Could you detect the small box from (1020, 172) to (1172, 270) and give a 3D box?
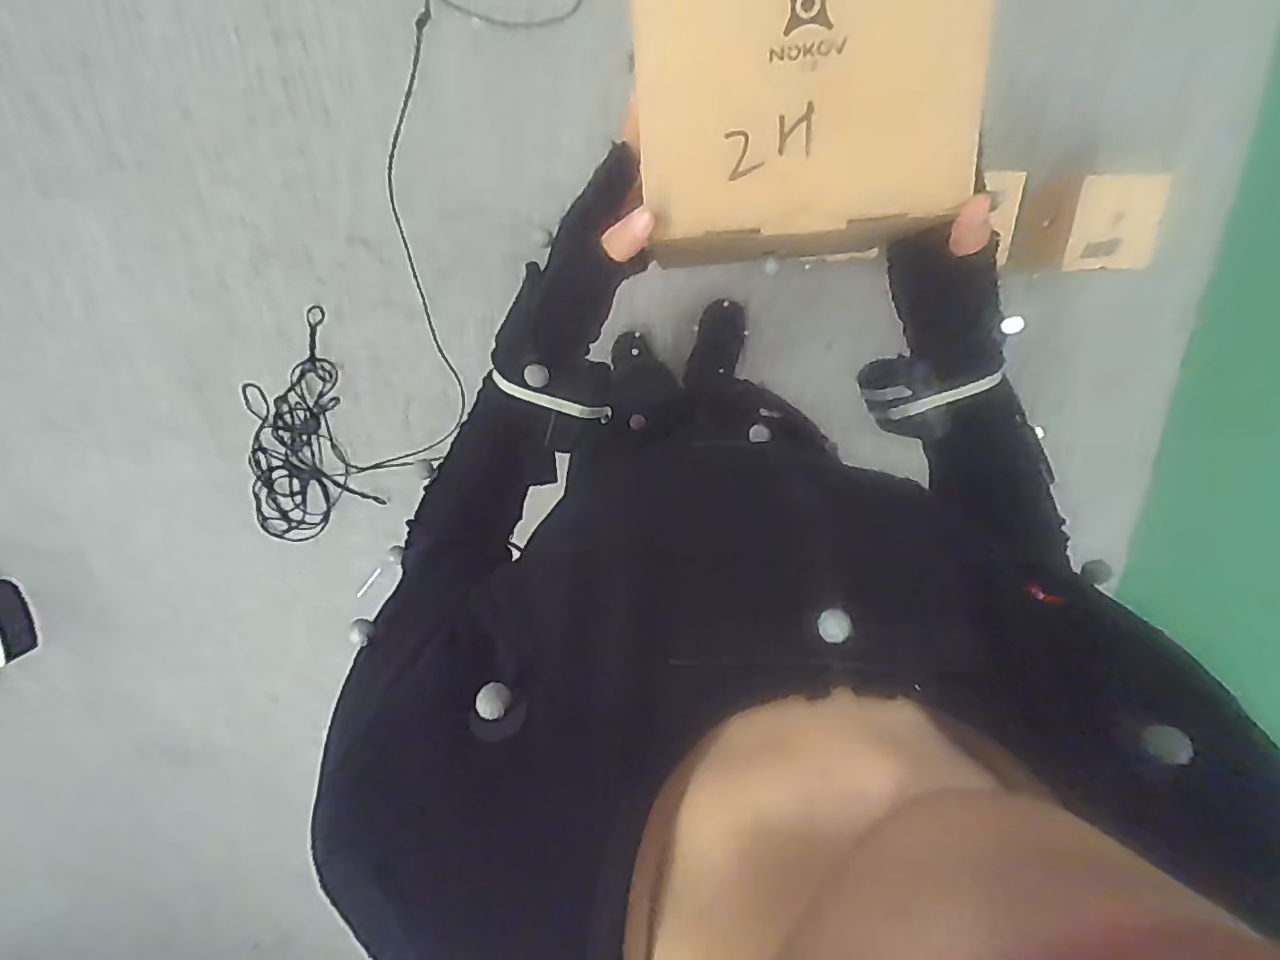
[{"bbox_3d":[0.952,-0.542,1.151,0.168,0.176,0.179,1,110,4],"label":"small box"}]

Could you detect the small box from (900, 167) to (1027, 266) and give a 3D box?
[{"bbox_3d":[0.684,-0.561,1.167,0.168,0.176,0.179,2,111,4],"label":"small box"}]
